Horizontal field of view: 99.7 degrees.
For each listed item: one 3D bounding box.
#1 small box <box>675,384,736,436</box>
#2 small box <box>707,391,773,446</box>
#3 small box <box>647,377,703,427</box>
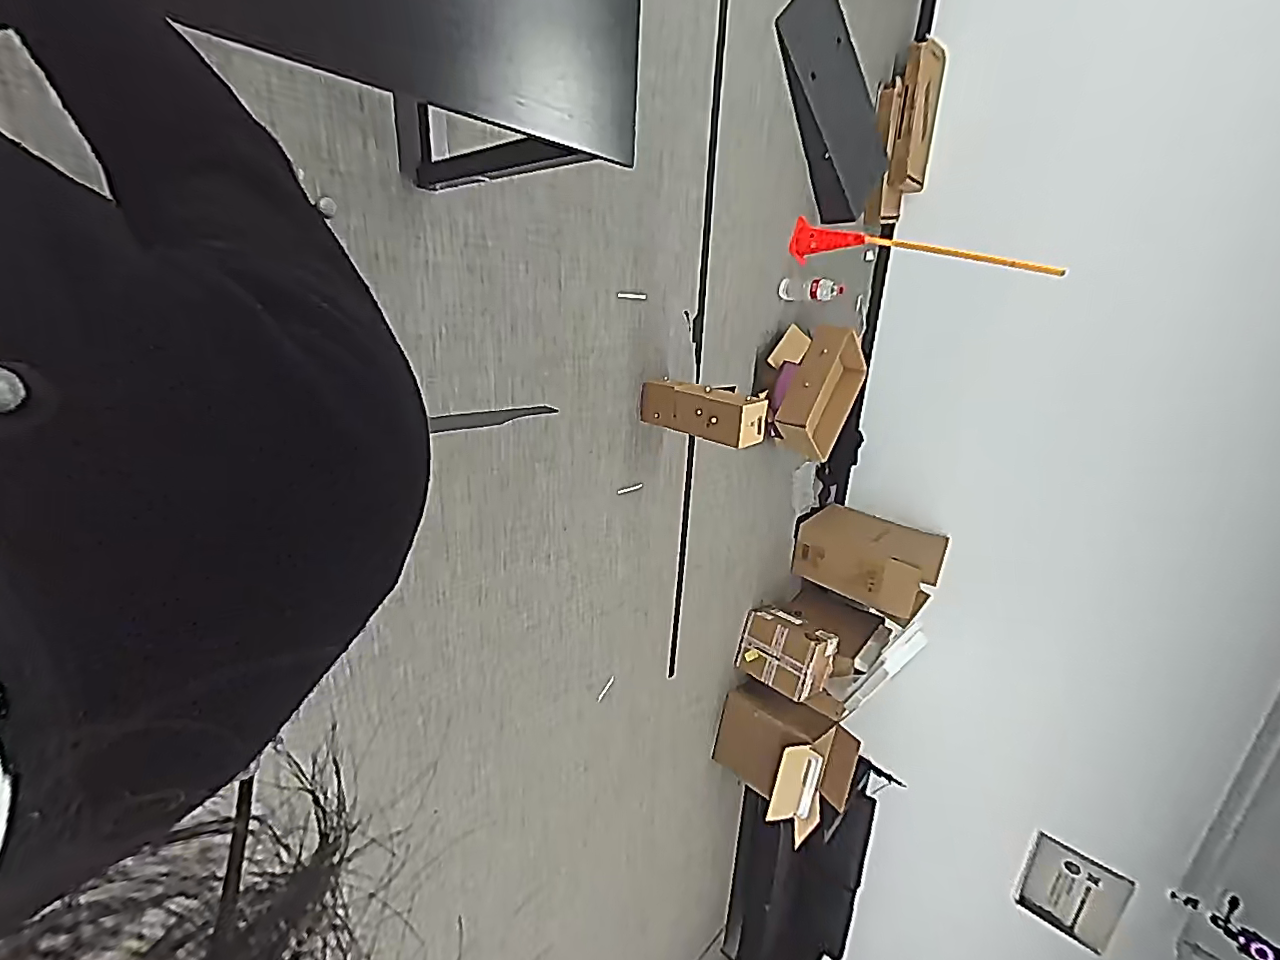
[{"bbox_3d":[0.261,-0.287,2.163,0.179,0.176,0.168,-19,119,-44],"label":"small box"},{"bbox_3d":[0.380,-0.240,2.060,0.179,0.176,0.168,-18,118,-43],"label":"small box"},{"bbox_3d":[0.143,-0.331,2.269,0.168,0.176,0.179,-17,116,-45],"label":"small box"}]
